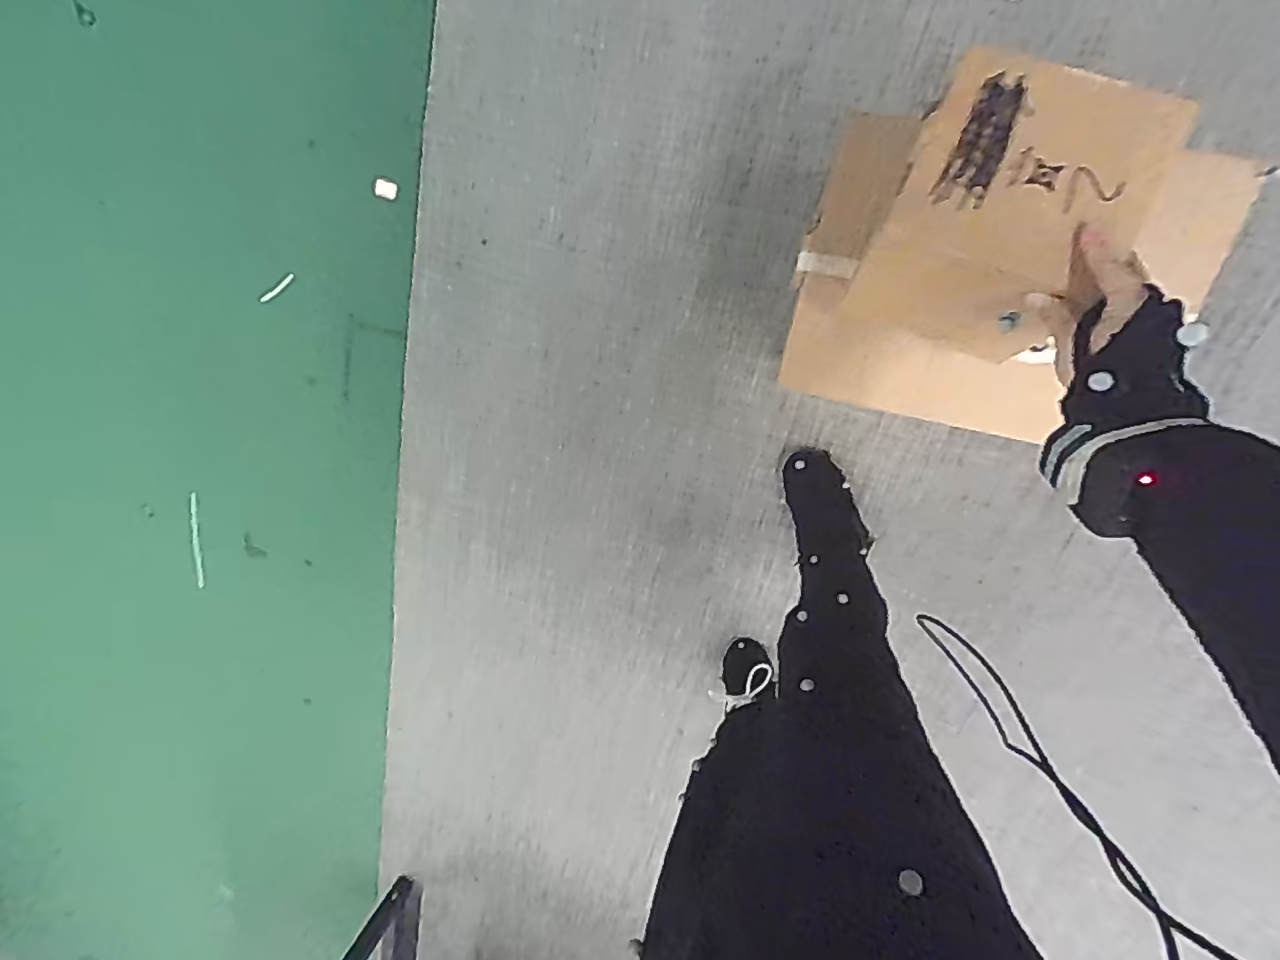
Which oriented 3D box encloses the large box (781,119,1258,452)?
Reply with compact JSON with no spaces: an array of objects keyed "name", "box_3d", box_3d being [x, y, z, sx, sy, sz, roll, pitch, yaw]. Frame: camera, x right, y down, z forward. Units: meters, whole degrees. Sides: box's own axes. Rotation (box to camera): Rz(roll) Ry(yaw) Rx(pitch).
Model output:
[{"name":"large box","box_3d":[0.429,-0.259,0.752,0.408,0.320,0.320,14,111,11]}]
